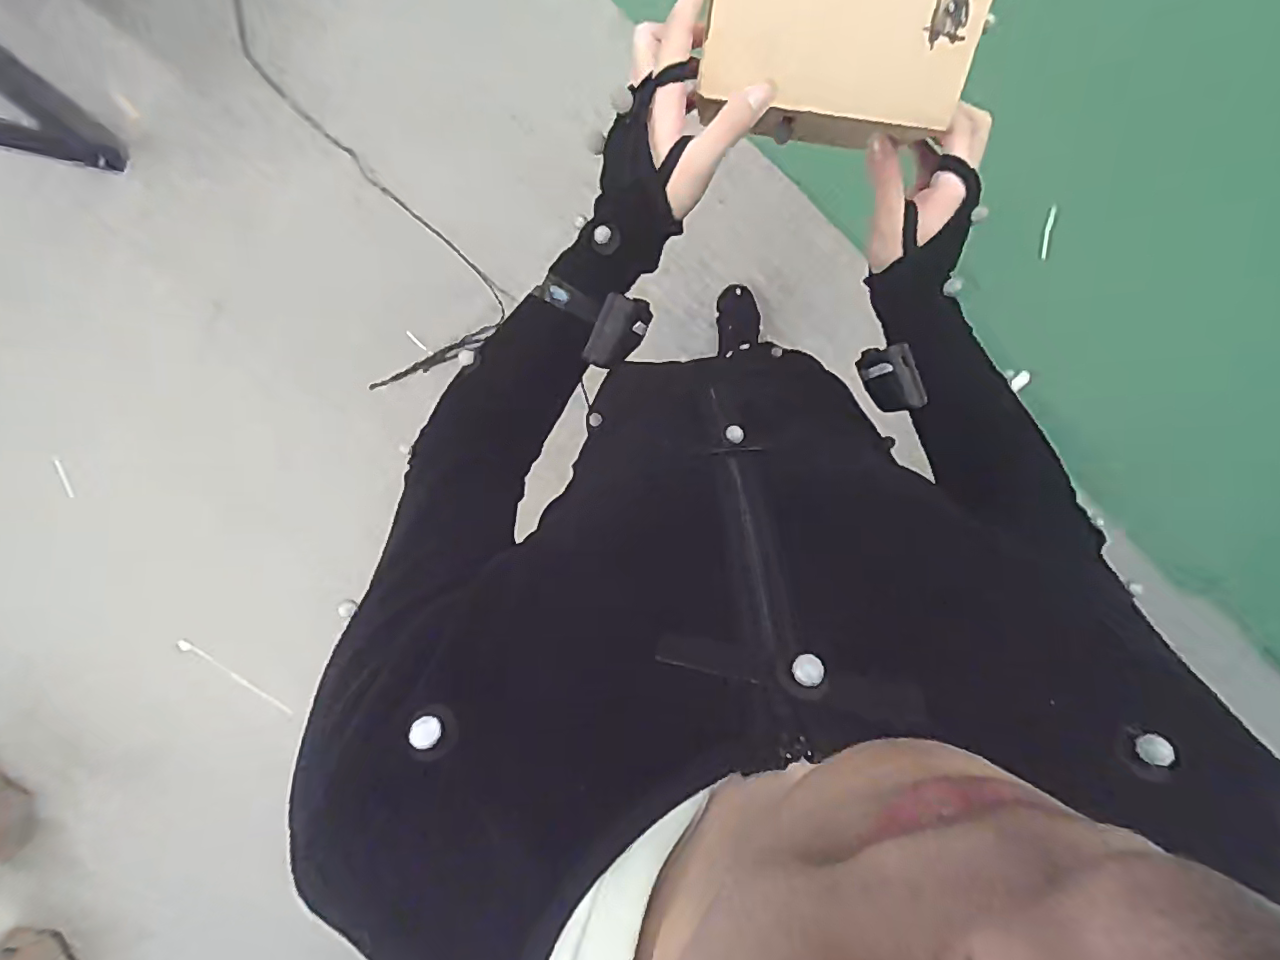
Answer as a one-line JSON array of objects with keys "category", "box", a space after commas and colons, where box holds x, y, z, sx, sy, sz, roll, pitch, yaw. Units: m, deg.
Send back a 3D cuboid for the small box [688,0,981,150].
[{"category": "small box", "box": [0.139, -0.358, 0.405, 0.179, 0.176, 0.168, 10, 117, 3]}]
